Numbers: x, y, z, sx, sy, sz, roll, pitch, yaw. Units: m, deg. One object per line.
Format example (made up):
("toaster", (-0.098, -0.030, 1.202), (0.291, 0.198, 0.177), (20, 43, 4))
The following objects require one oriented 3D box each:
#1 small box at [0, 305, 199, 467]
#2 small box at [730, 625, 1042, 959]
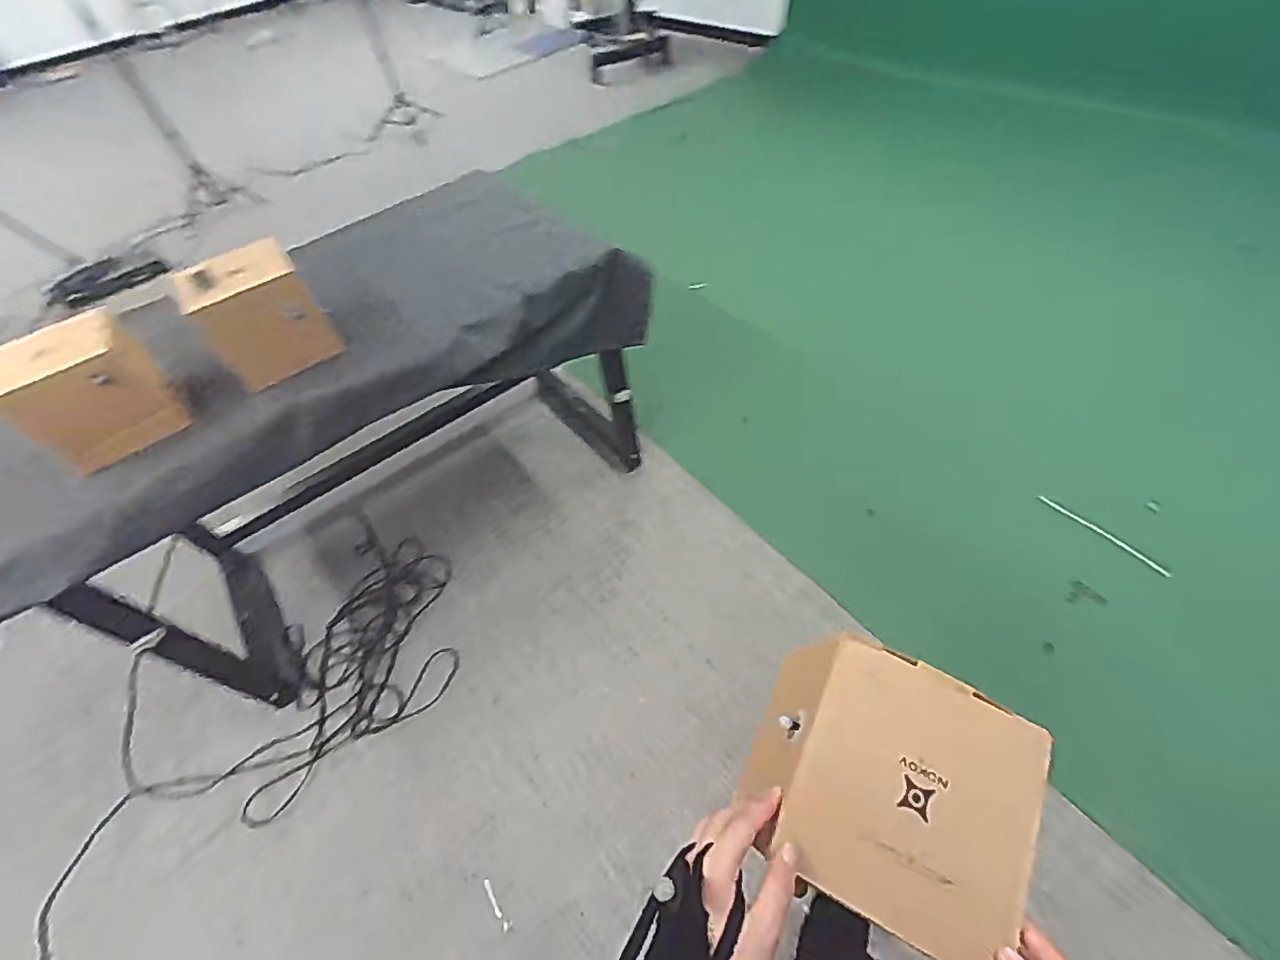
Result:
("small box", (-0.892, -0.153, 0.898), (0.179, 0.176, 0.168), (-34, 55, -19))
("small box", (0.189, 0.251, 0.457), (0.168, 0.176, 0.179), (25, 67, 10))
